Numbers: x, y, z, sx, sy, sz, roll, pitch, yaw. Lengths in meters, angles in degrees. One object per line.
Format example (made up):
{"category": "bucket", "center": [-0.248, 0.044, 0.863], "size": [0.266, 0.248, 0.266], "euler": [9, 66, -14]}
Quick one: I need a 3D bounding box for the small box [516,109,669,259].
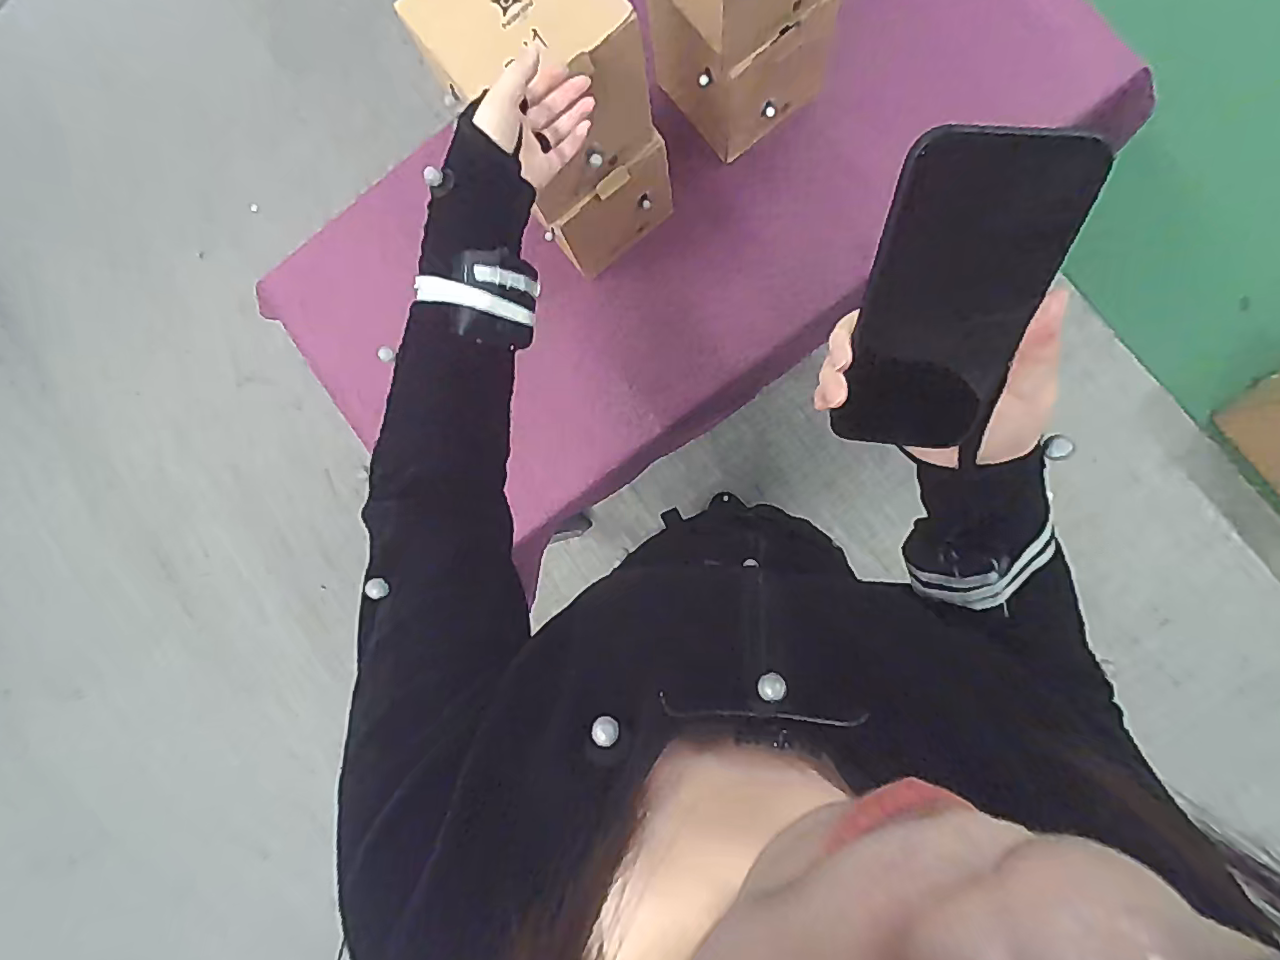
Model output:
{"category": "small box", "center": [-0.075, -0.432, 0.735], "size": [0.168, 0.176, 0.179], "euler": [-38, 84, 5]}

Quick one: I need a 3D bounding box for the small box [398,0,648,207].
{"category": "small box", "center": [-0.111, -0.439, 0.574], "size": [0.168, 0.176, 0.179], "euler": [-39, 84, 5]}

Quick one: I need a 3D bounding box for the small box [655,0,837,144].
{"category": "small box", "center": [0.129, -0.600, 0.712], "size": [0.168, 0.176, 0.179], "euler": [-38, 85, 5]}
